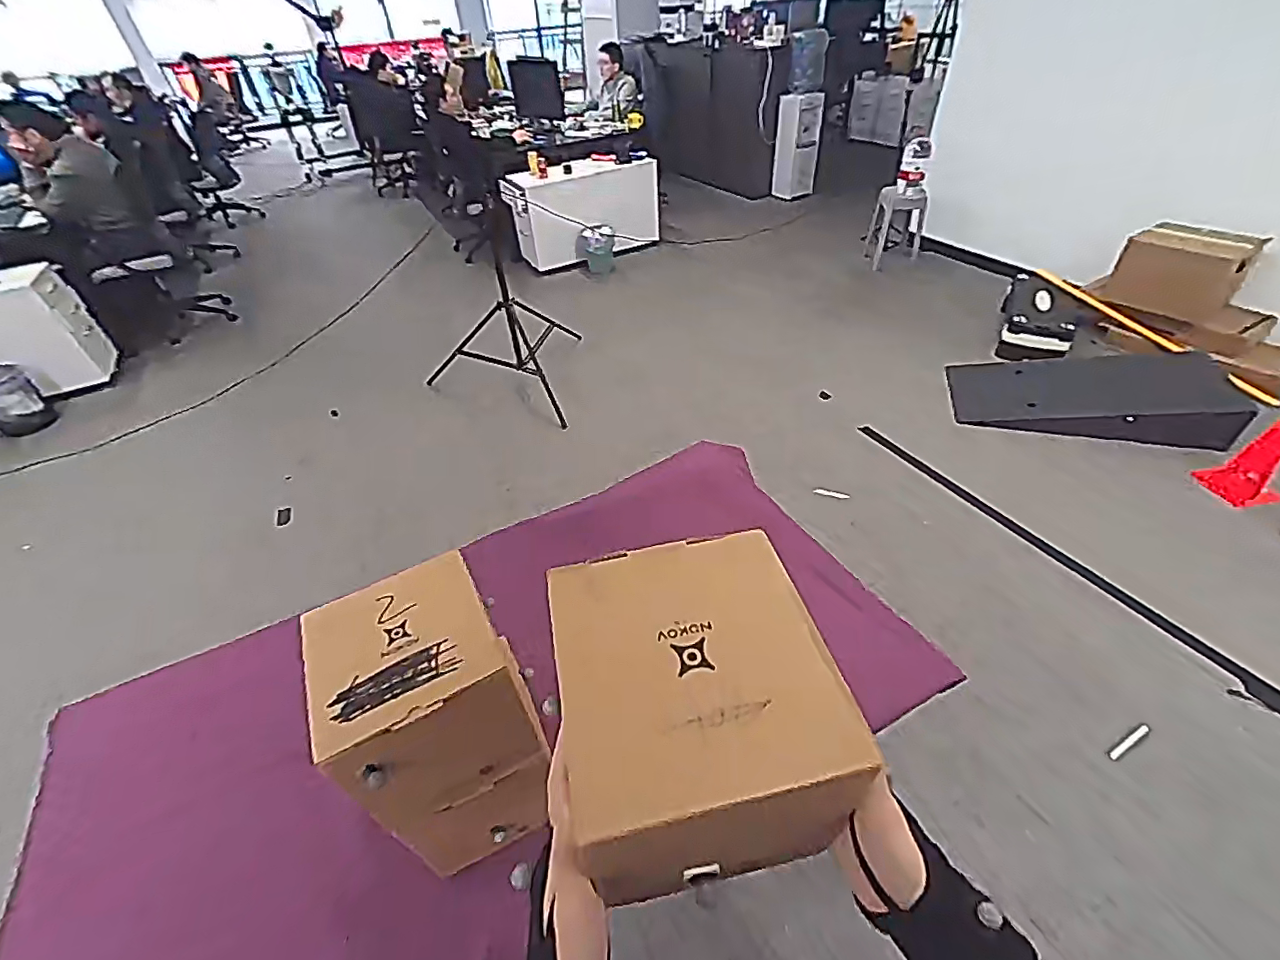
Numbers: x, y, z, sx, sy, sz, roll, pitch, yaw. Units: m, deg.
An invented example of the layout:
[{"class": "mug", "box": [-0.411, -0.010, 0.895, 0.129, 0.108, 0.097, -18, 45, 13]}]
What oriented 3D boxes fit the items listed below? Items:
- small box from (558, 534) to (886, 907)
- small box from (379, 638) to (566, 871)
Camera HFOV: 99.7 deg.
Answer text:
[{"class": "small box", "box": [0.038, 0.169, 0.392, 0.168, 0.176, 0.179, -10, 43, -8]}, {"class": "small box", "box": [-0.206, 0.341, 0.680, 0.168, 0.176, 0.179, -21, 44, -17]}]
